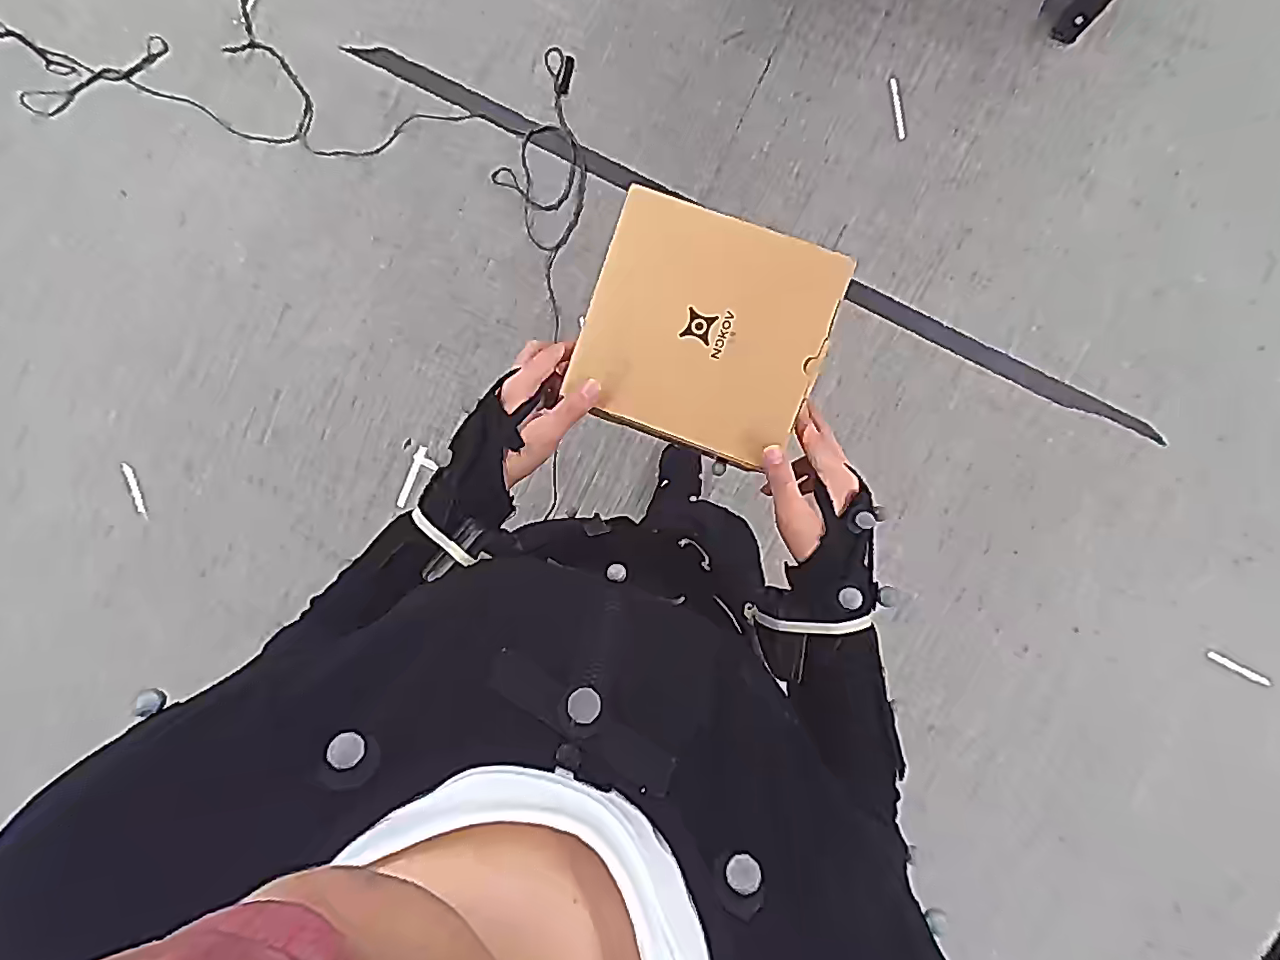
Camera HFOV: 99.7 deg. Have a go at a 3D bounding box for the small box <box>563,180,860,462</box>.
[{"bbox_3d":[0.054,-0.117,0.472,0.179,0.176,0.168,20,93,2],"label":"small box"}]
